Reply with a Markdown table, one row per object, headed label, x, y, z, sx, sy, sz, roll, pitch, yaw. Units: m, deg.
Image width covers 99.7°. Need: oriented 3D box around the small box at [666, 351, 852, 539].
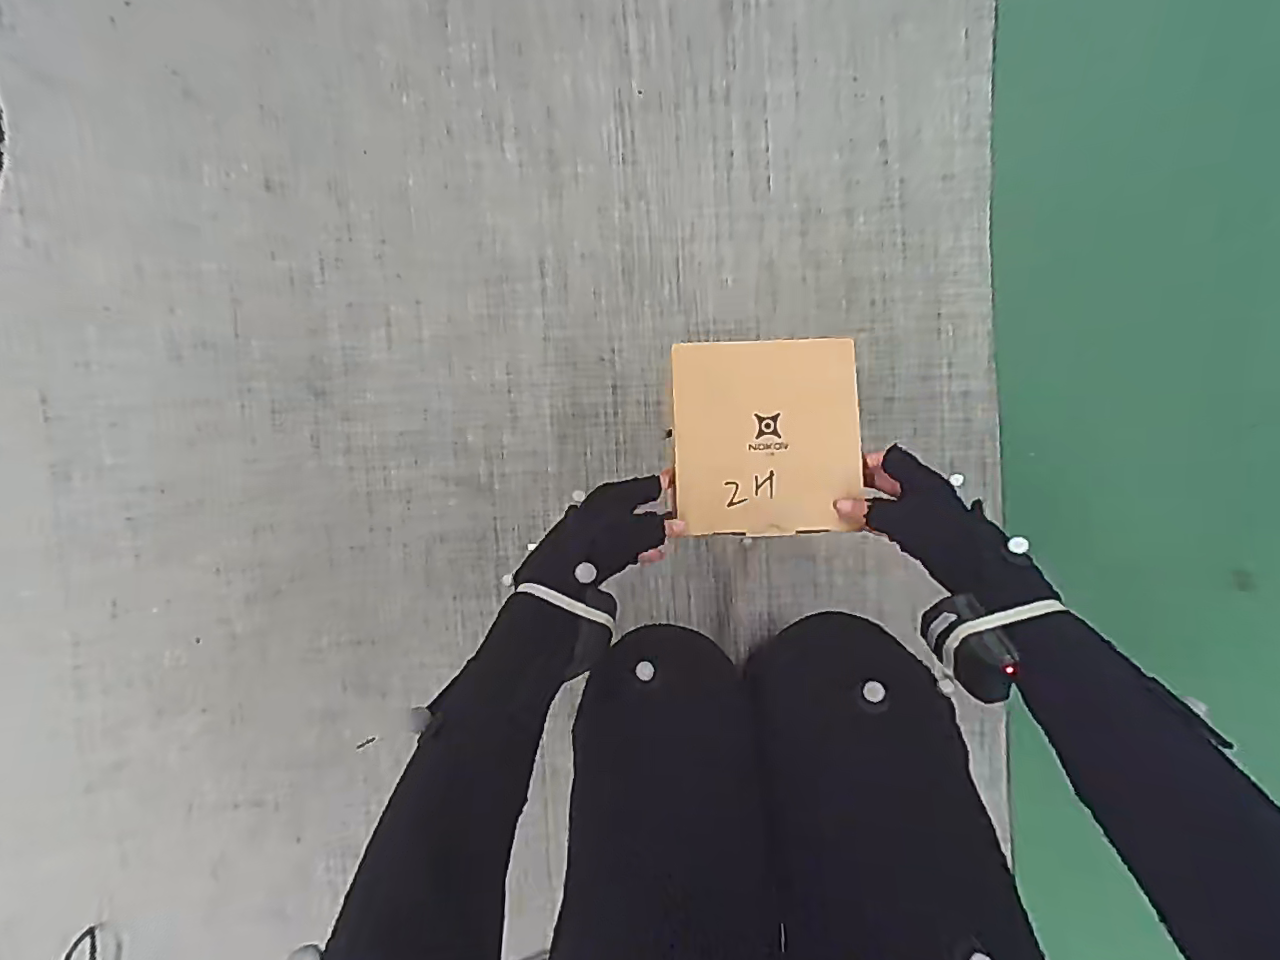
| label | x | y | z | sx | sy | sz | roll | pitch | yaw |
| --- | --- | --- | --- | --- | --- | --- | --- | --- | --- |
| small box | 0.112 | -0.026 | 0.578 | 0.168 | 0.176 | 0.179 | -1 | 85 | 2 |
